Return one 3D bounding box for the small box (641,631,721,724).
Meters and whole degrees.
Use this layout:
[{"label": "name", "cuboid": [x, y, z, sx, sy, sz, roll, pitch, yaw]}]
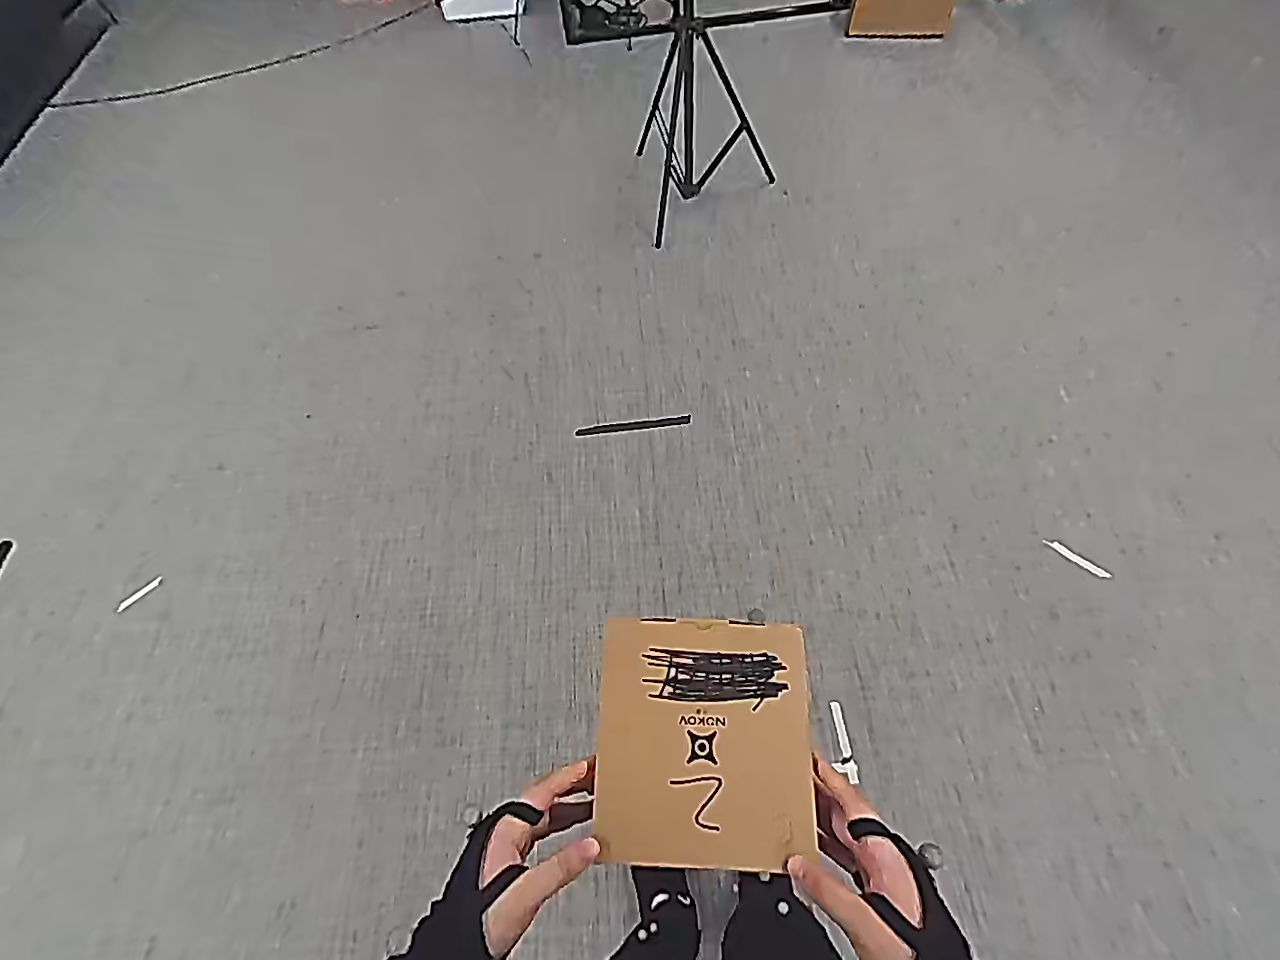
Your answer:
[{"label": "small box", "cuboid": [0.093, 0.468, 1.273, 0.168, 0.176, 0.179, -7, 62, 1]}]
